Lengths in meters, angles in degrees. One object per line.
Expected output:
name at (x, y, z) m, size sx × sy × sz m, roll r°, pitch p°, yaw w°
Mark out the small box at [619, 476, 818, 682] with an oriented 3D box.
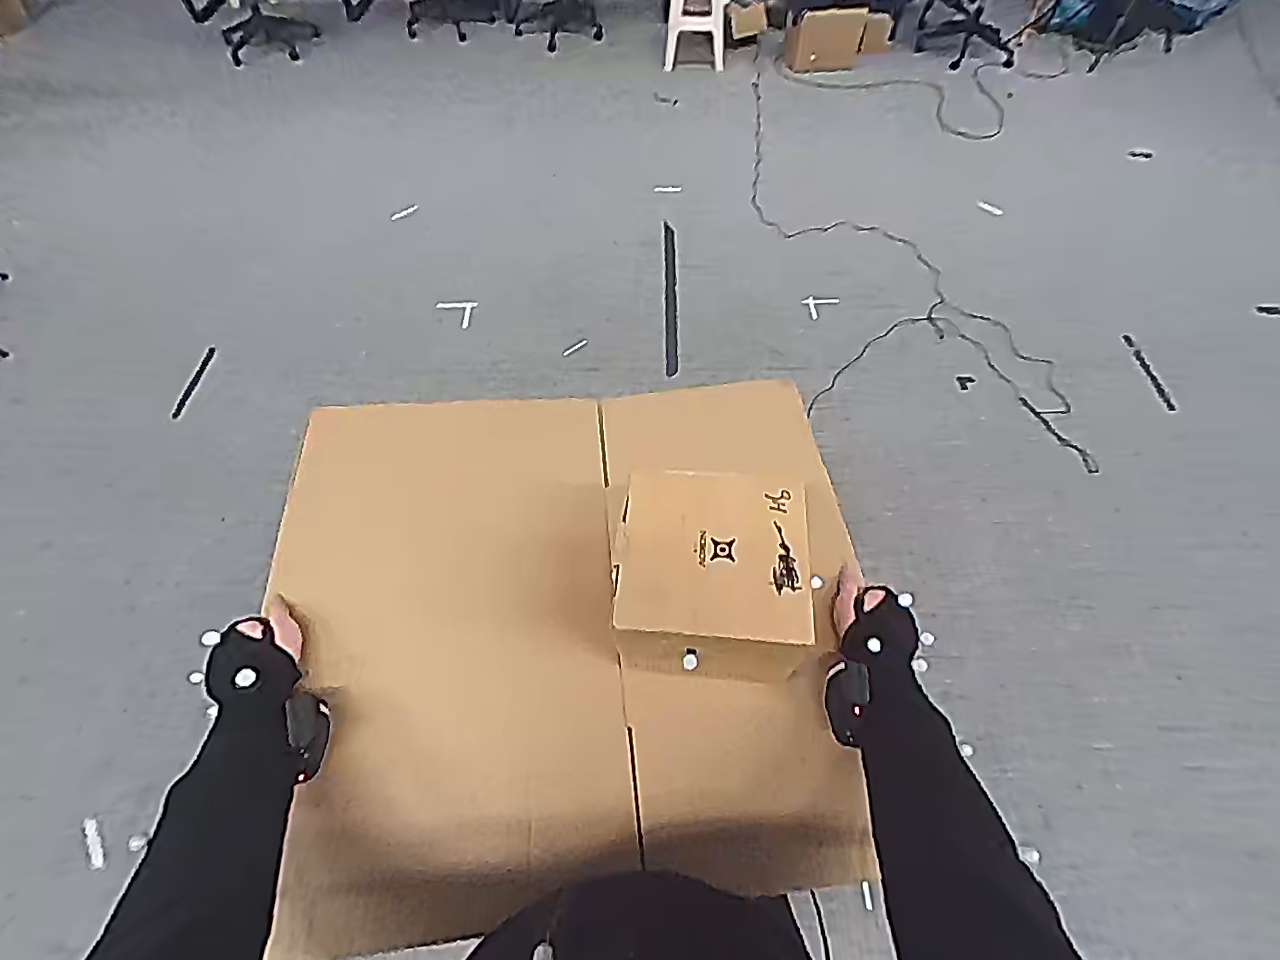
small box at (0.082, 0.111, 0.579) m, size 0.179 × 0.176 × 0.168 m, roll 3°, pitch 59°, yaw 7°
